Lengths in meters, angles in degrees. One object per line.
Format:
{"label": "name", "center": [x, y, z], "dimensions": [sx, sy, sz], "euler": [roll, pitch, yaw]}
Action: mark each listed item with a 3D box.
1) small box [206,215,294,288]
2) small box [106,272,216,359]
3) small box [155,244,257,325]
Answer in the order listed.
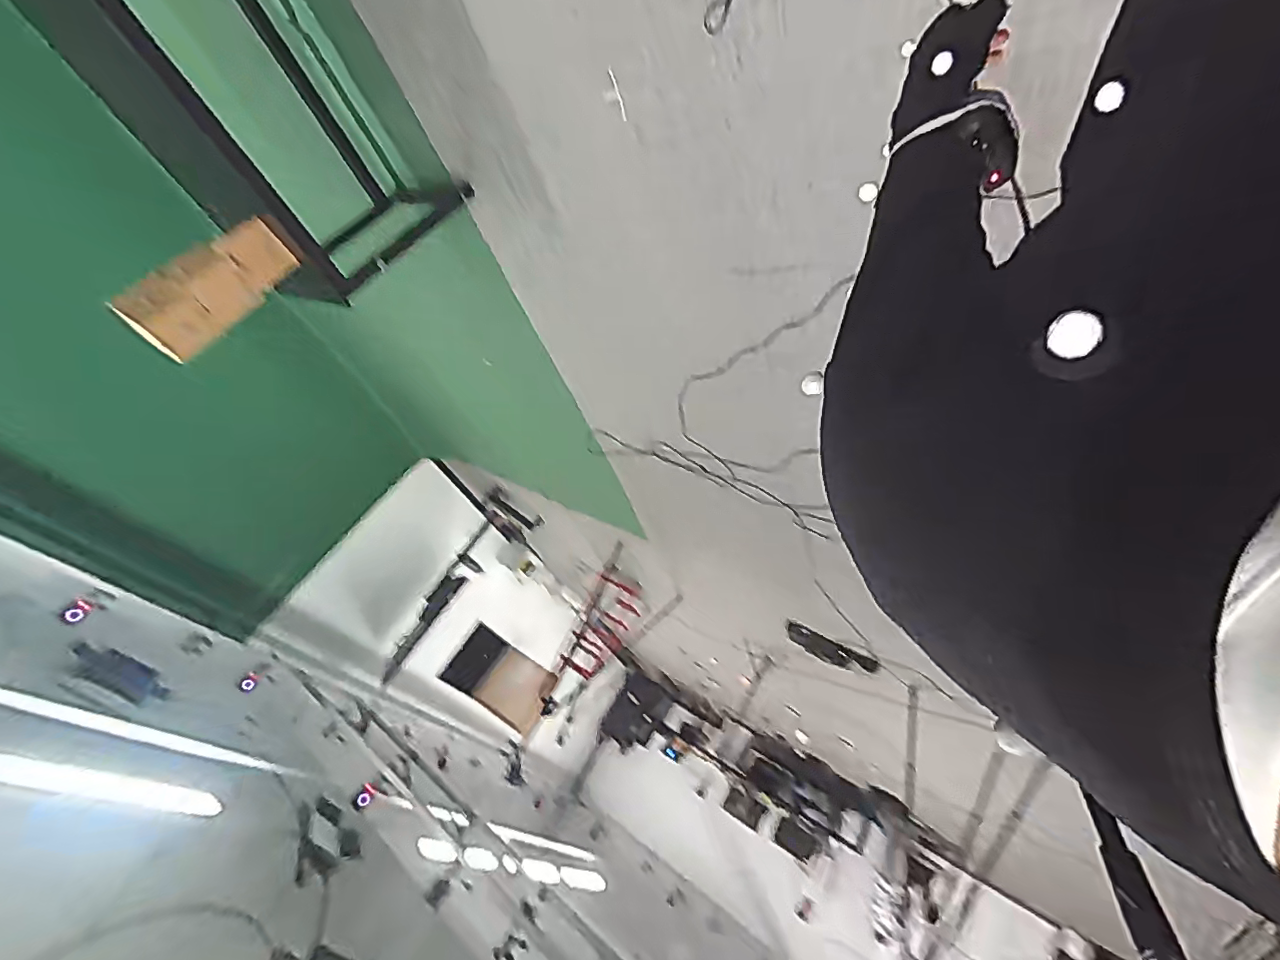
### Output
{"label": "small box", "center": [-1.326, -0.773, 1.841], "dimensions": [0.179, 0.176, 0.168], "euler": [13, 148, 40]}
{"label": "small box", "center": [-1.505, -0.526, 1.719], "dimensions": [0.179, 0.176, 0.168], "euler": [29, 155, 11]}
{"label": "small box", "center": [-1.413, -0.648, 1.779], "dimensions": [0.179, 0.176, 0.168], "euler": [26, 154, 22]}
